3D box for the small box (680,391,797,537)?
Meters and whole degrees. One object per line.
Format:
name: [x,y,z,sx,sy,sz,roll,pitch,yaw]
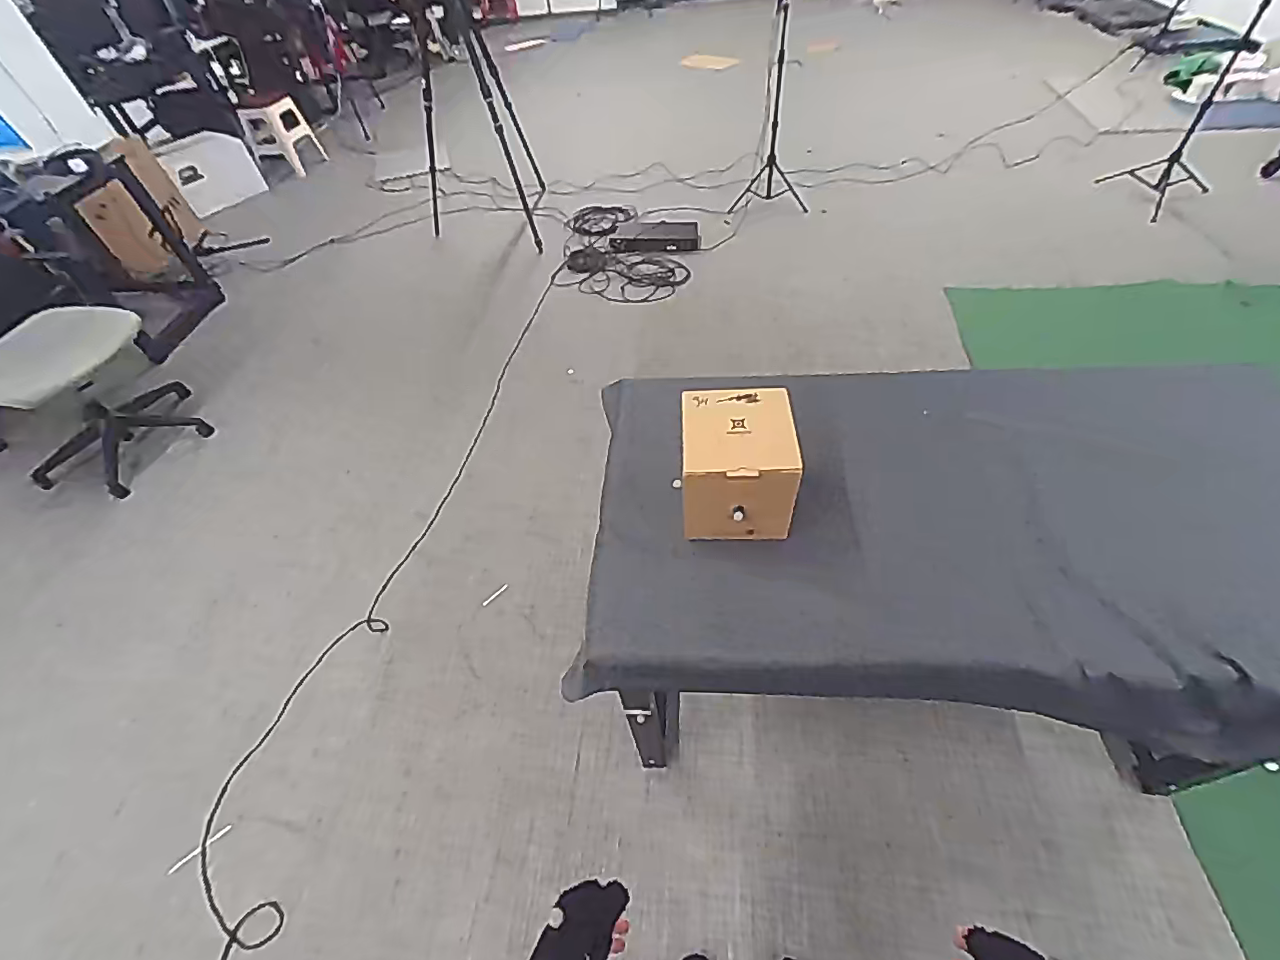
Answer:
small box: [0.151,-0.020,0.869,0.168,0.176,0.179,-1,50,6]
